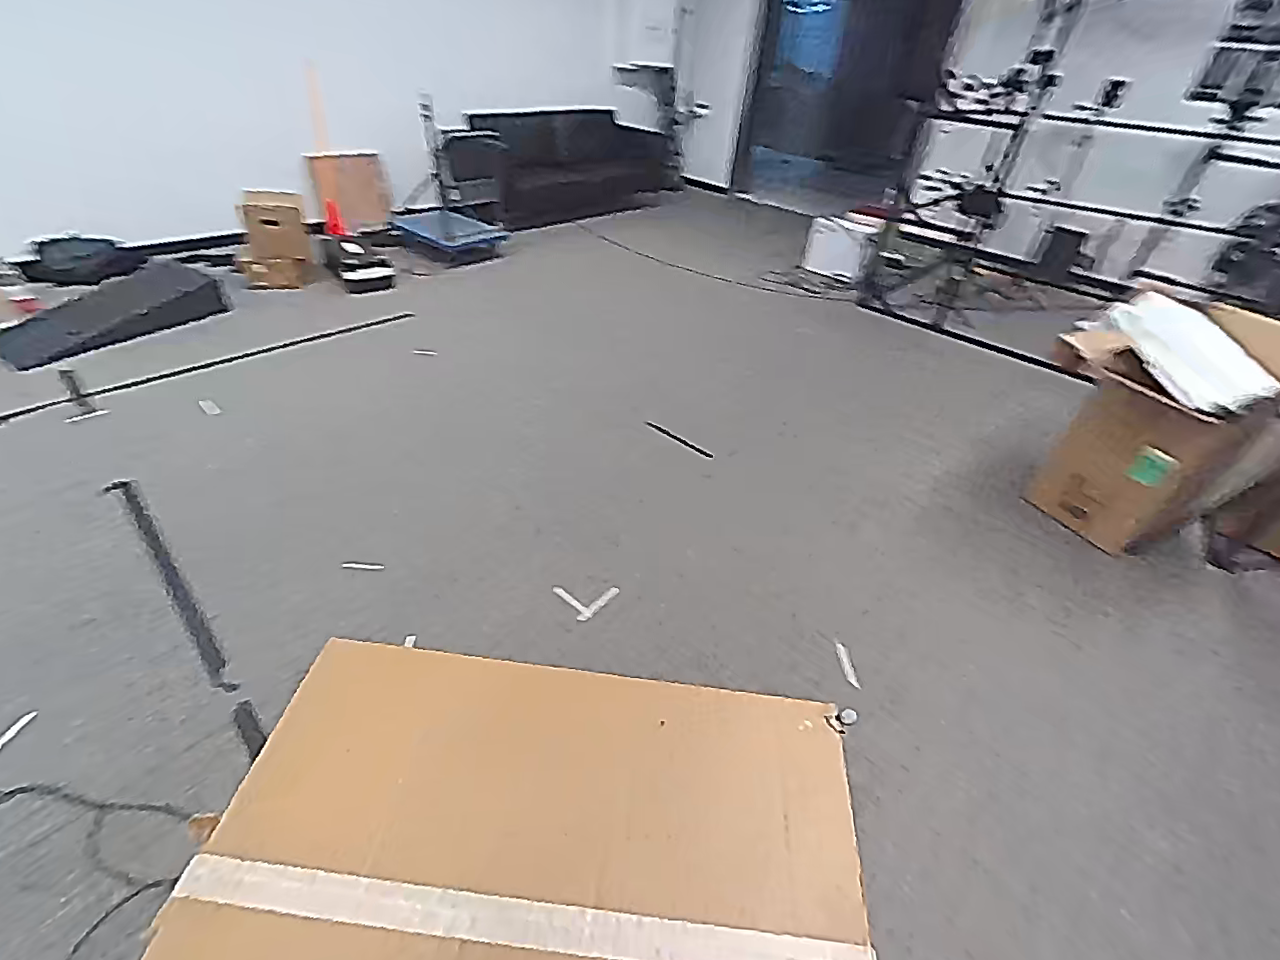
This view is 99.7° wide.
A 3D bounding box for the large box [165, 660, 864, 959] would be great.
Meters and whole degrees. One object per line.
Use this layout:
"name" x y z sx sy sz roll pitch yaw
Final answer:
"large box" -0.076 0.374 0.423 0.408 0.320 0.320 7 45 1
